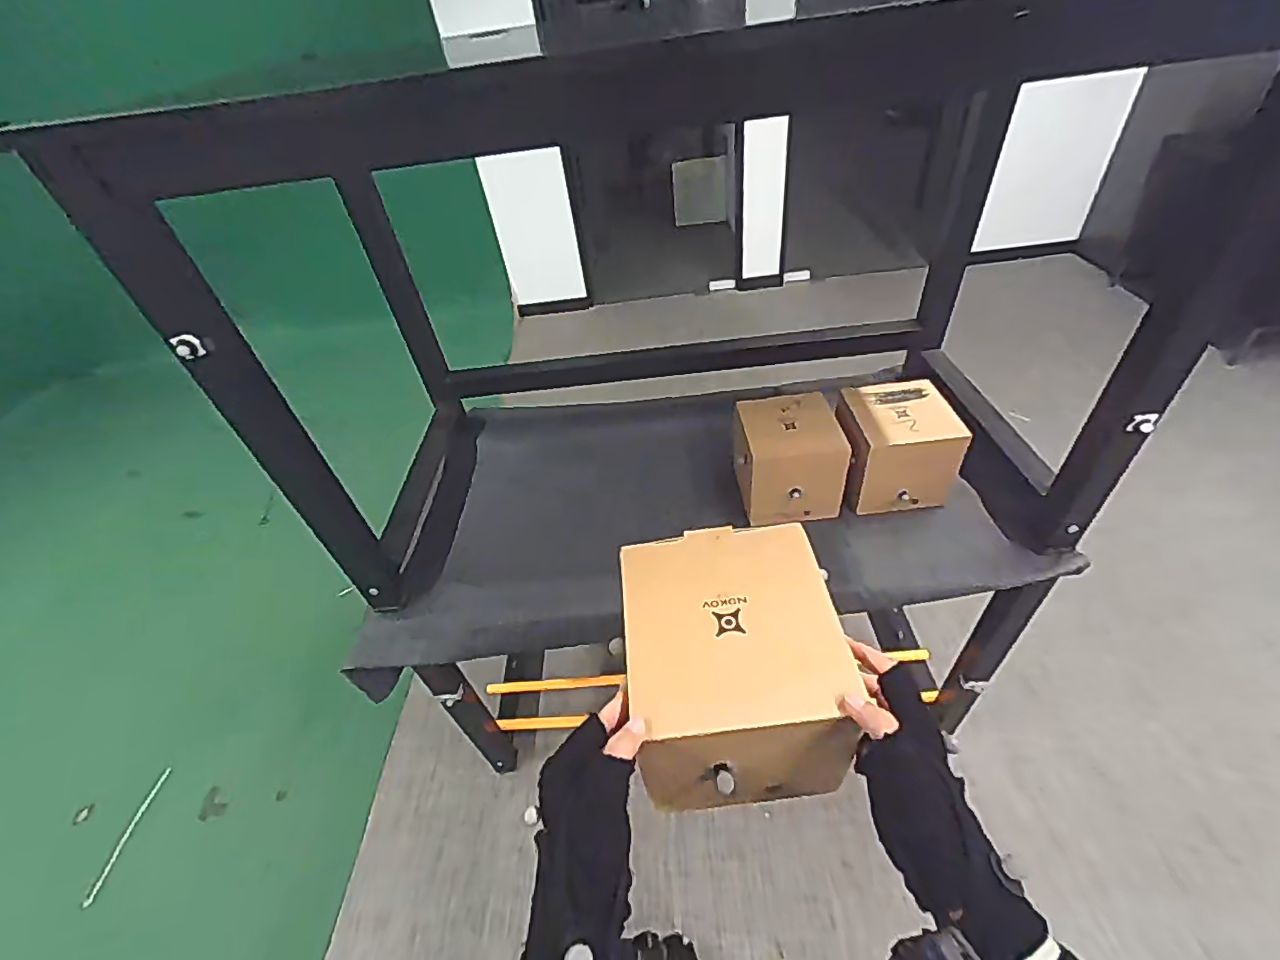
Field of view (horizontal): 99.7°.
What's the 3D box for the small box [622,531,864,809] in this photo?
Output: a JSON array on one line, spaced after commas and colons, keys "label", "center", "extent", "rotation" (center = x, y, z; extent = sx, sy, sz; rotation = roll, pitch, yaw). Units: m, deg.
[{"label": "small box", "center": [0.081, 0.175, 0.488], "extent": [0.168, 0.176, 0.179], "rotation": [-9, 42, 1]}]
